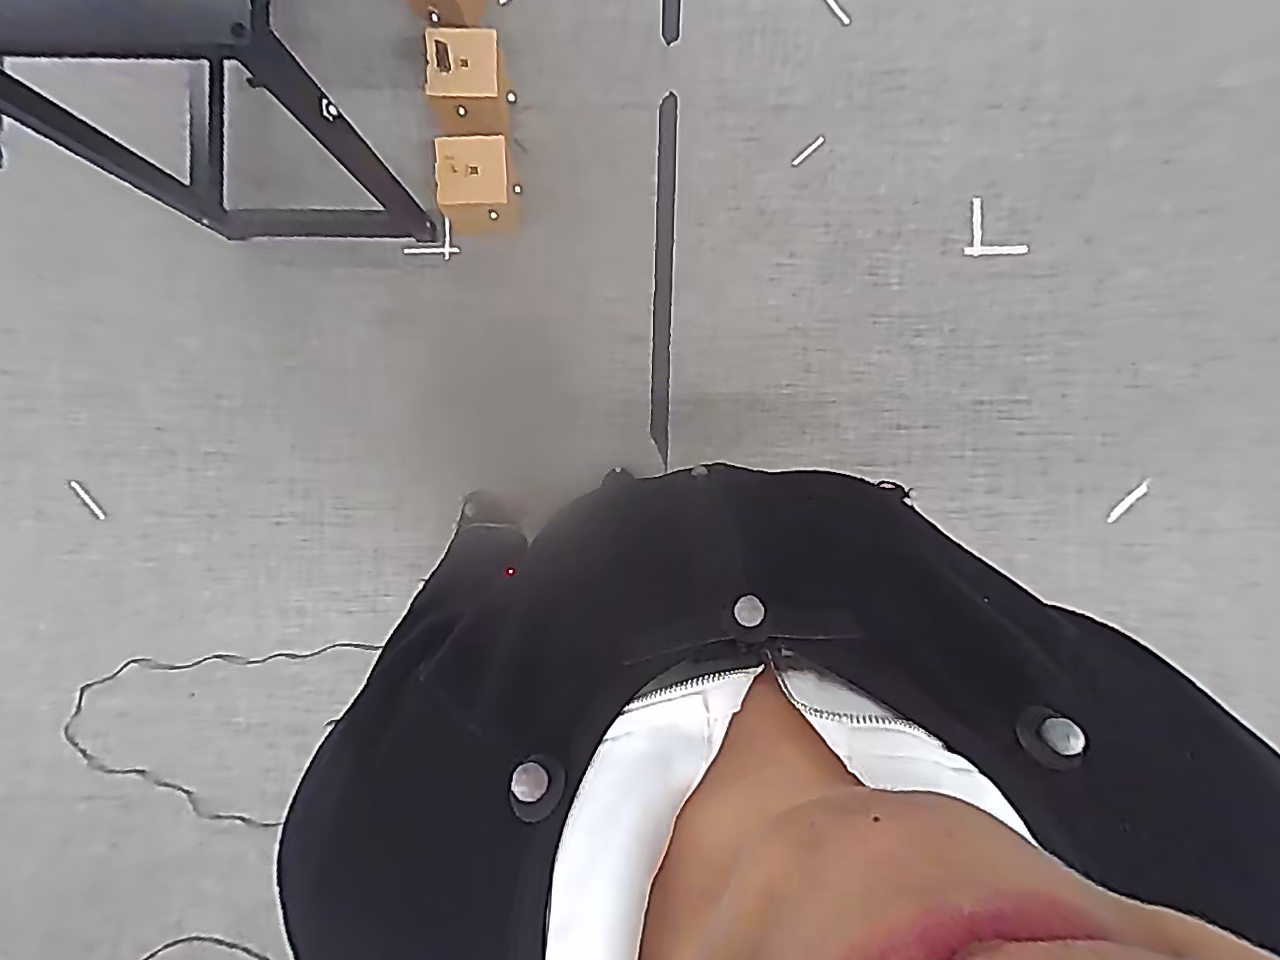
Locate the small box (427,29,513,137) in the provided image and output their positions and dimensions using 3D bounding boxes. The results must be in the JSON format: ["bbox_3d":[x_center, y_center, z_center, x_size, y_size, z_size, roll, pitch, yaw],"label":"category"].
[{"bbox_3d":[-0.436,-1.021,1.405,0.179,0.176,0.168,0,92,-1],"label":"small box"}]

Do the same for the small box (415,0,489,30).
[{"bbox_3d":[-0.498,-1.316,1.398,0.168,0.176,0.179,22,93,1],"label":"small box"}]
